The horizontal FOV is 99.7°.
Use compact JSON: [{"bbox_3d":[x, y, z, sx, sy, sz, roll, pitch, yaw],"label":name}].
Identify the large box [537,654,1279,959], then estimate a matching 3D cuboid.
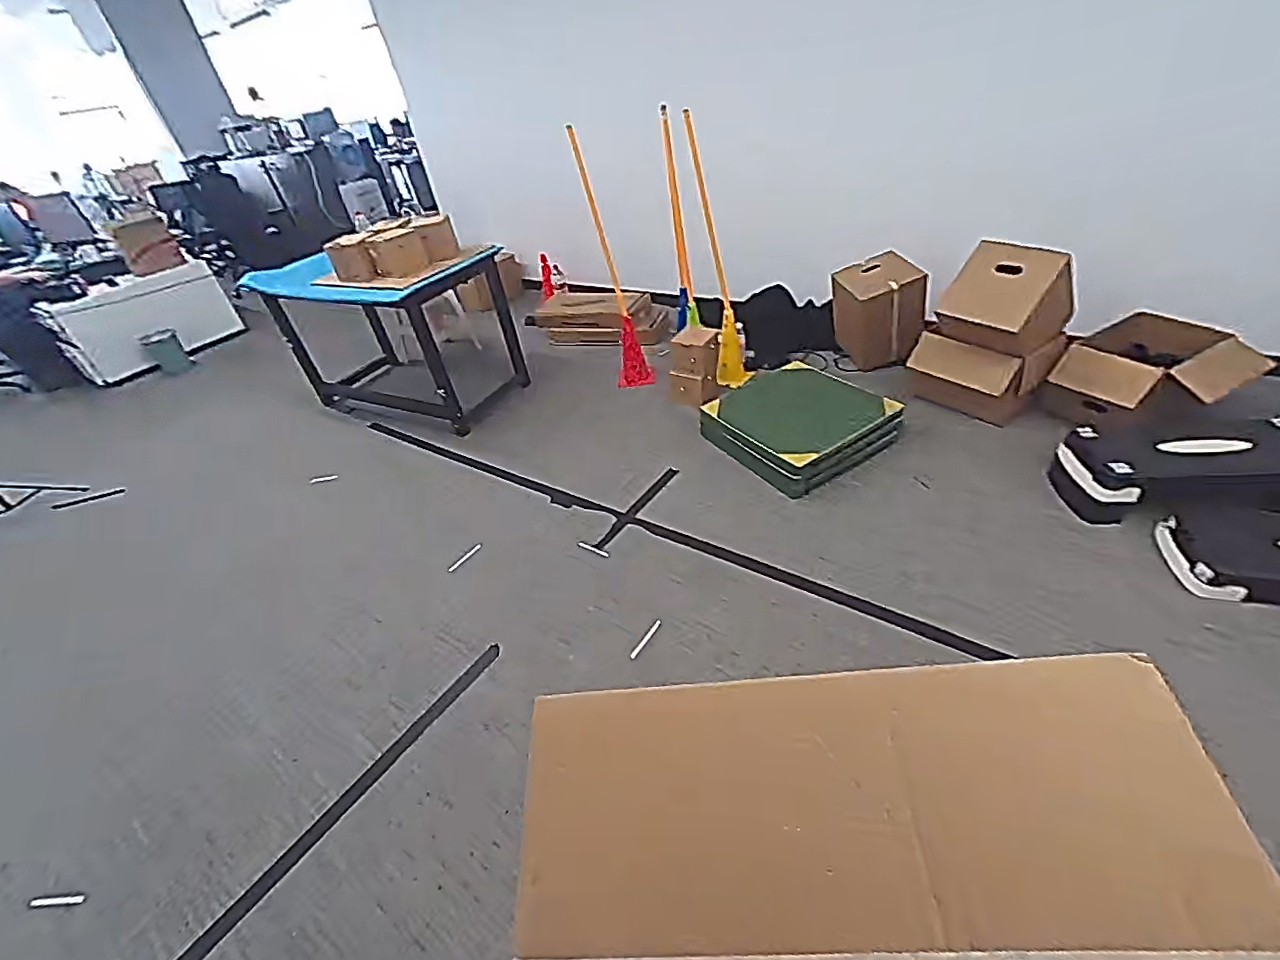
[{"bbox_3d":[0.159,0.349,0.409,0.408,0.320,0.320,-8,55,9],"label":"large box"}]
